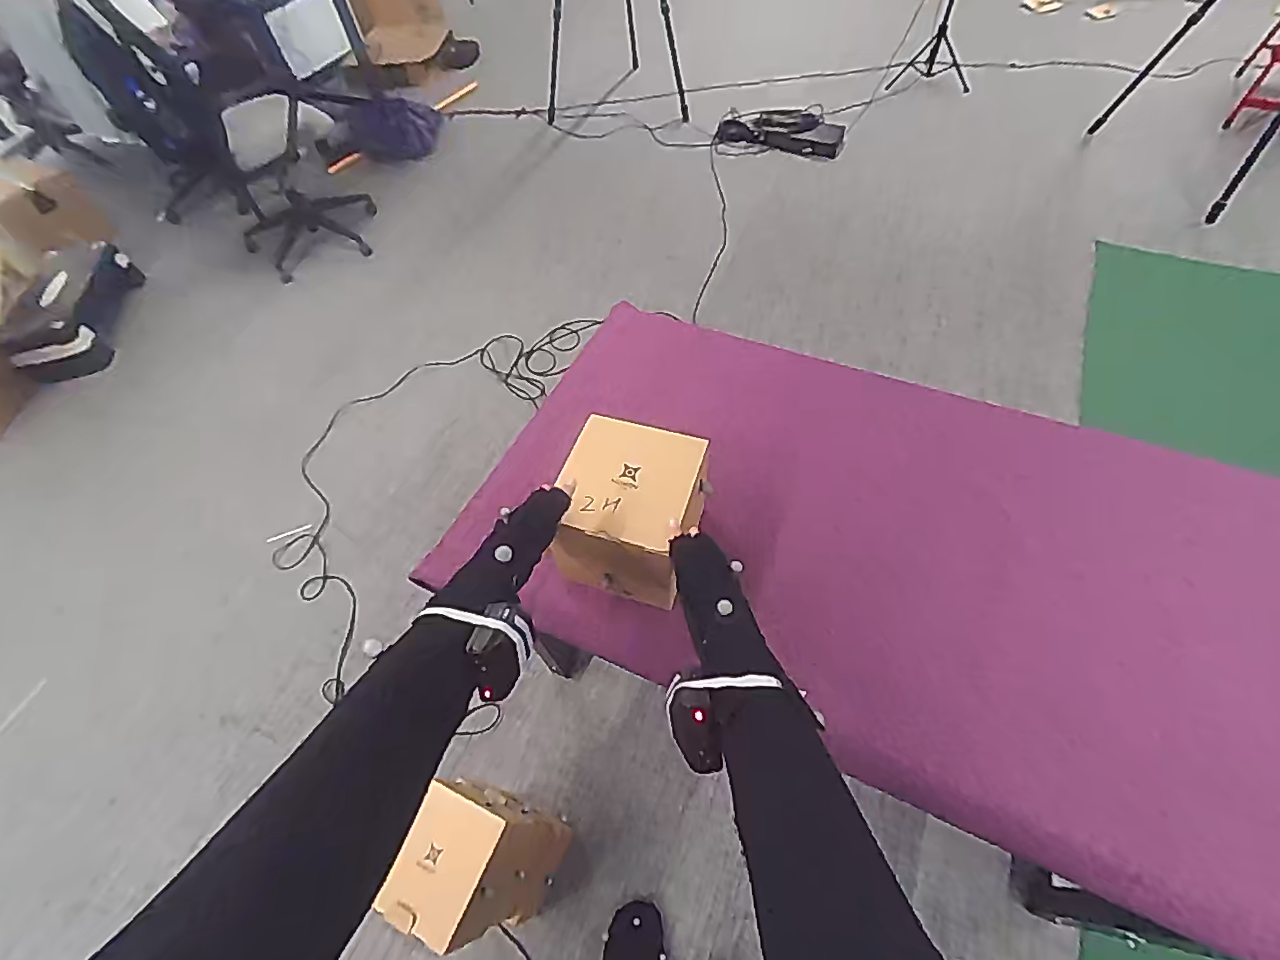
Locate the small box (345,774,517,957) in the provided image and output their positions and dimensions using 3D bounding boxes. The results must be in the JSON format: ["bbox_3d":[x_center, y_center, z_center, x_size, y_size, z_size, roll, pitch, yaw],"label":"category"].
[{"bbox_3d":[-0.317,0.604,0.869,0.168,0.176,0.179,19,62,16],"label":"small box"}]

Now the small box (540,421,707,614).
[{"bbox_3d":[-0.016,0.053,0.738,0.168,0.176,0.179,15,57,13],"label":"small box"}]
